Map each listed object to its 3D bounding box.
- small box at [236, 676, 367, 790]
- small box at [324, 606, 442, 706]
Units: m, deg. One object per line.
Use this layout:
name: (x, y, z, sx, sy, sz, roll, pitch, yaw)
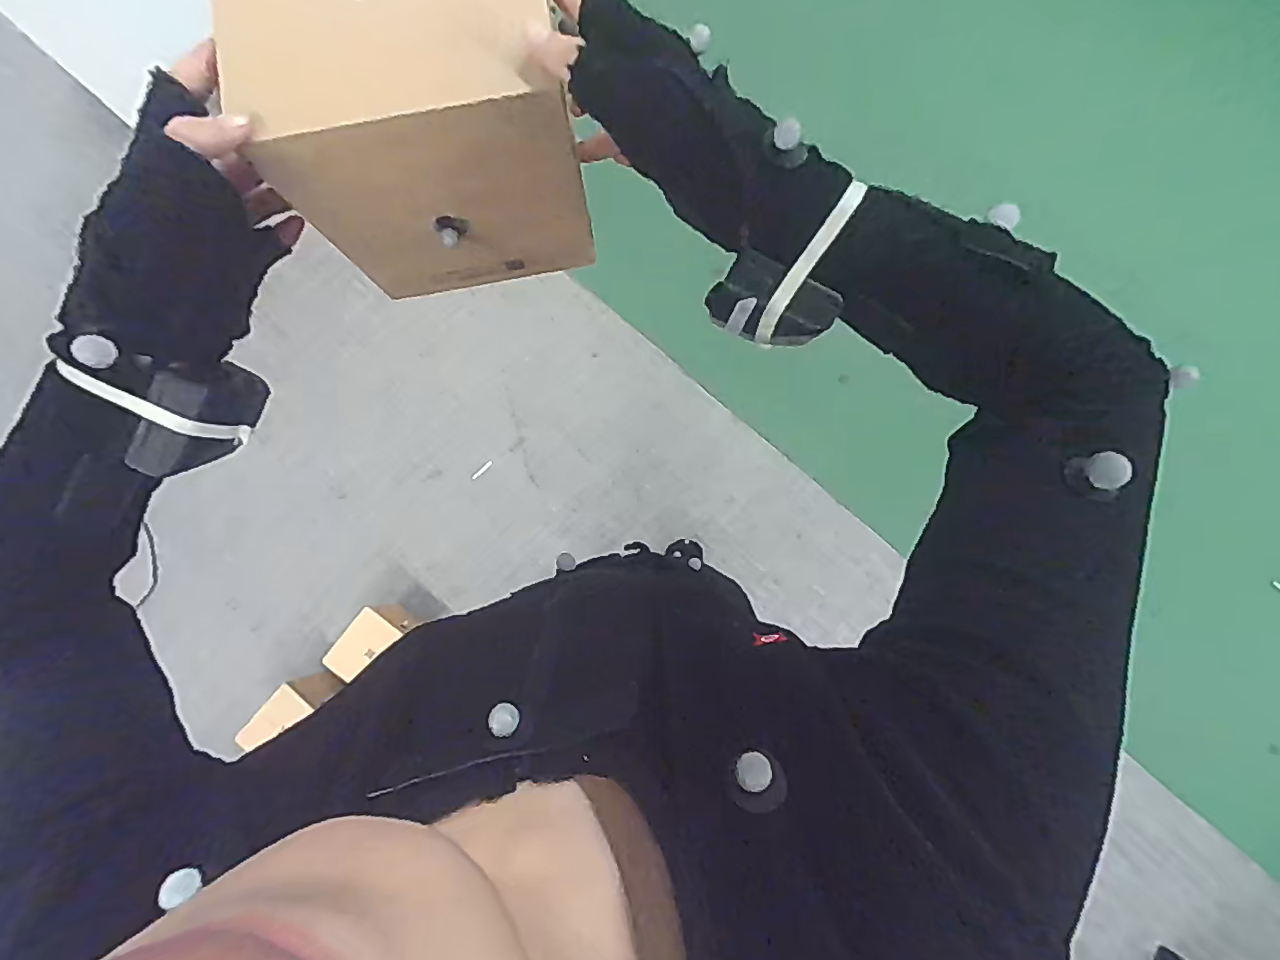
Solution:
small box: (-0.820, 0.610, 1.333, 0.179, 0.176, 0.168, 38, 82, 6)
small box: (-0.639, 0.434, 1.367, 0.179, 0.176, 0.168, 36, 82, 4)
